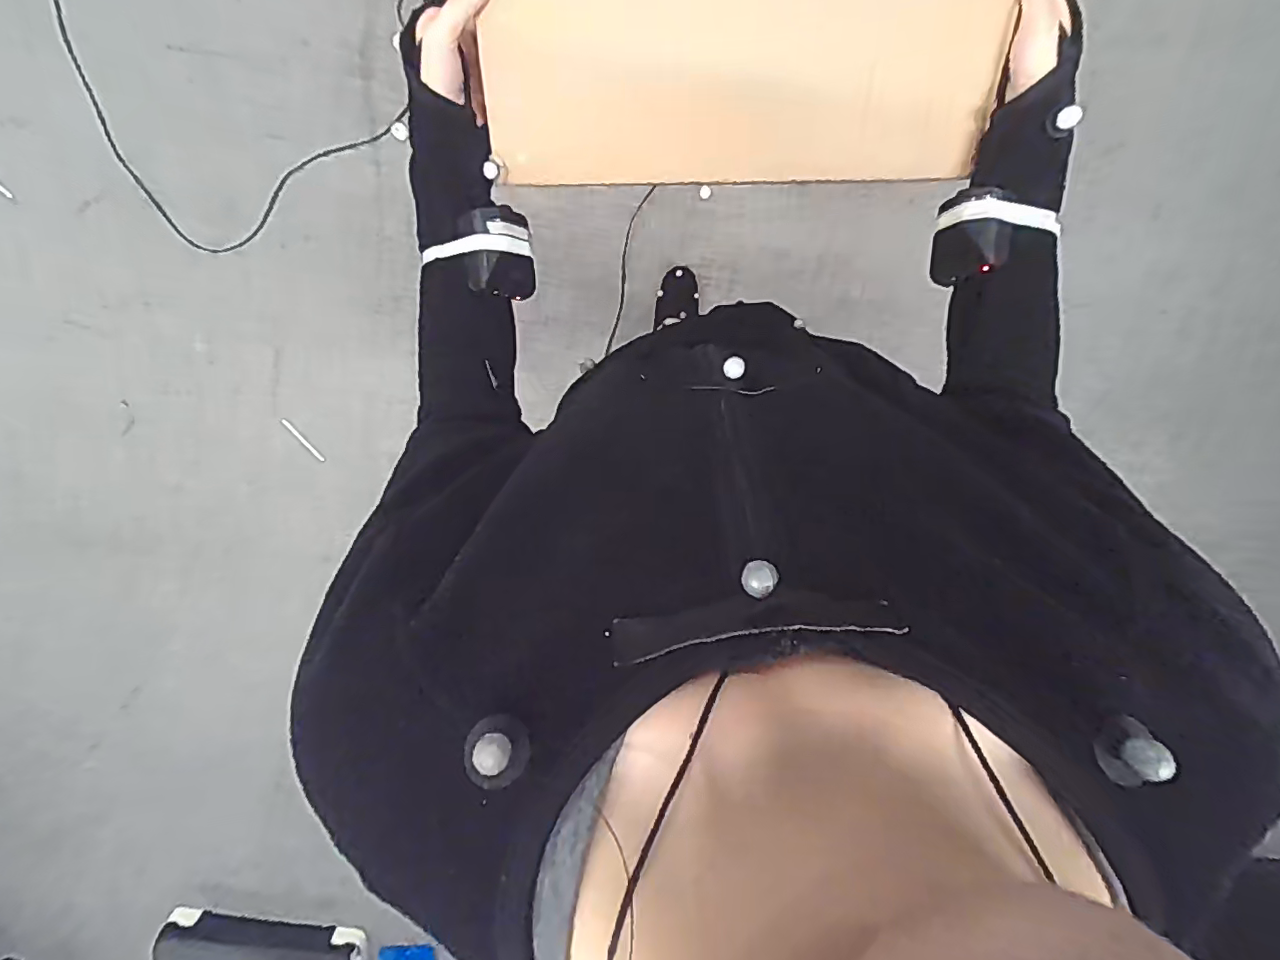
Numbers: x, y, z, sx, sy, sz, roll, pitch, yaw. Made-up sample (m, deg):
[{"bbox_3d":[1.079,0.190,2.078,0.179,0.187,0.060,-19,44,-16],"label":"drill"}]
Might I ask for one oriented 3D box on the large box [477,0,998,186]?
[{"bbox_3d":[0.070,-0.468,0.515,0.408,0.320,0.320,-2,119,-2],"label":"large box"}]
